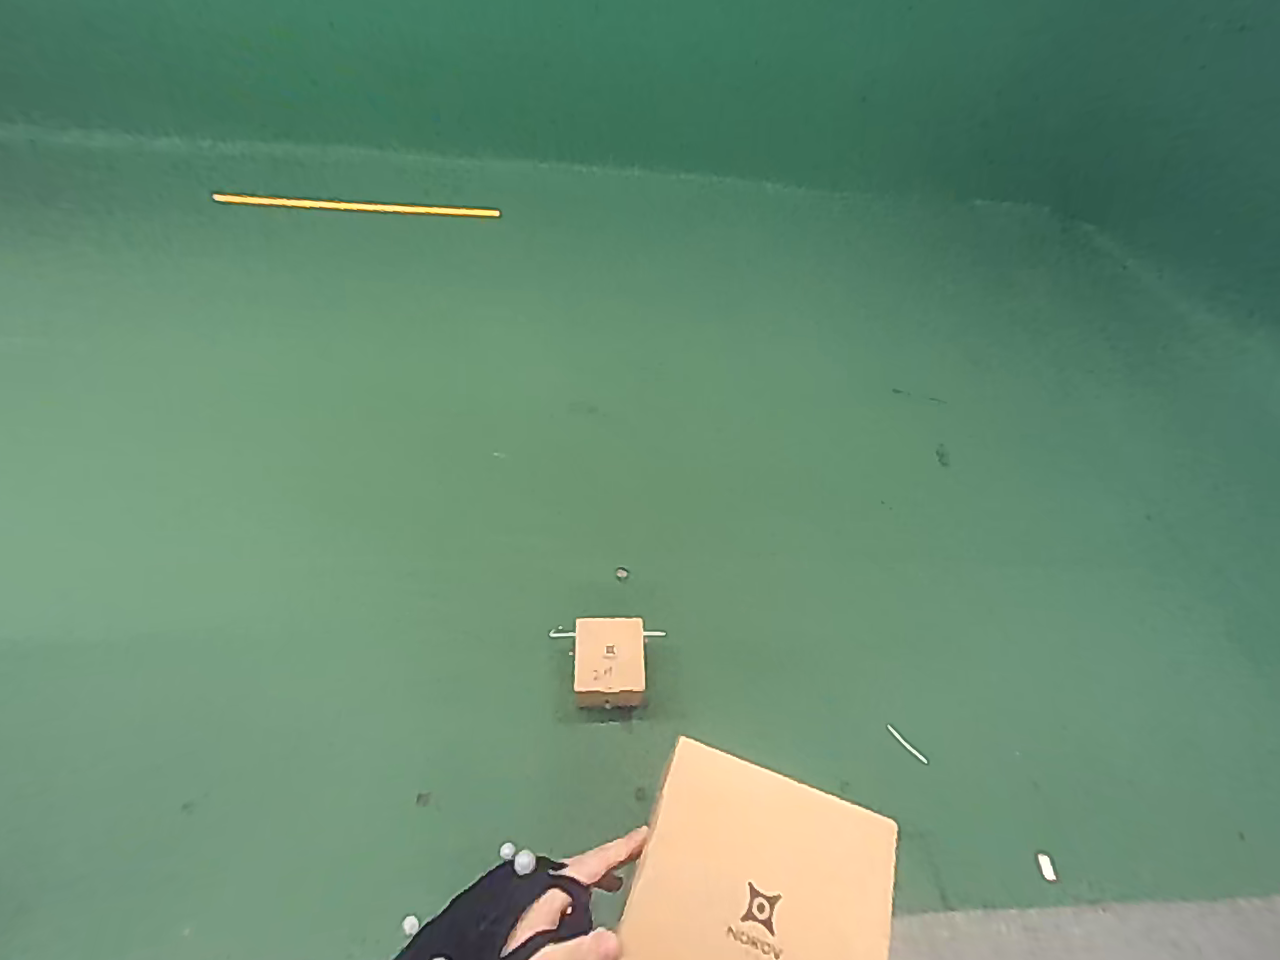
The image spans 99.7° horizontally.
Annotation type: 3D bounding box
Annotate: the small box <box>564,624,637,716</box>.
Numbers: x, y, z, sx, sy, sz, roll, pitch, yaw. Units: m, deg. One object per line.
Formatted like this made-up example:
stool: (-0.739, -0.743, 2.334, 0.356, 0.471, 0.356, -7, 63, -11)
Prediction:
small box: (-0.100, 0.472, 1.338, 0.168, 0.176, 0.179, 2, 55, -6)

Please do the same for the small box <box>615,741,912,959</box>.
small box: (0.082, 0.334, 0.409, 0.168, 0.176, 0.179, 19, 53, 10)
